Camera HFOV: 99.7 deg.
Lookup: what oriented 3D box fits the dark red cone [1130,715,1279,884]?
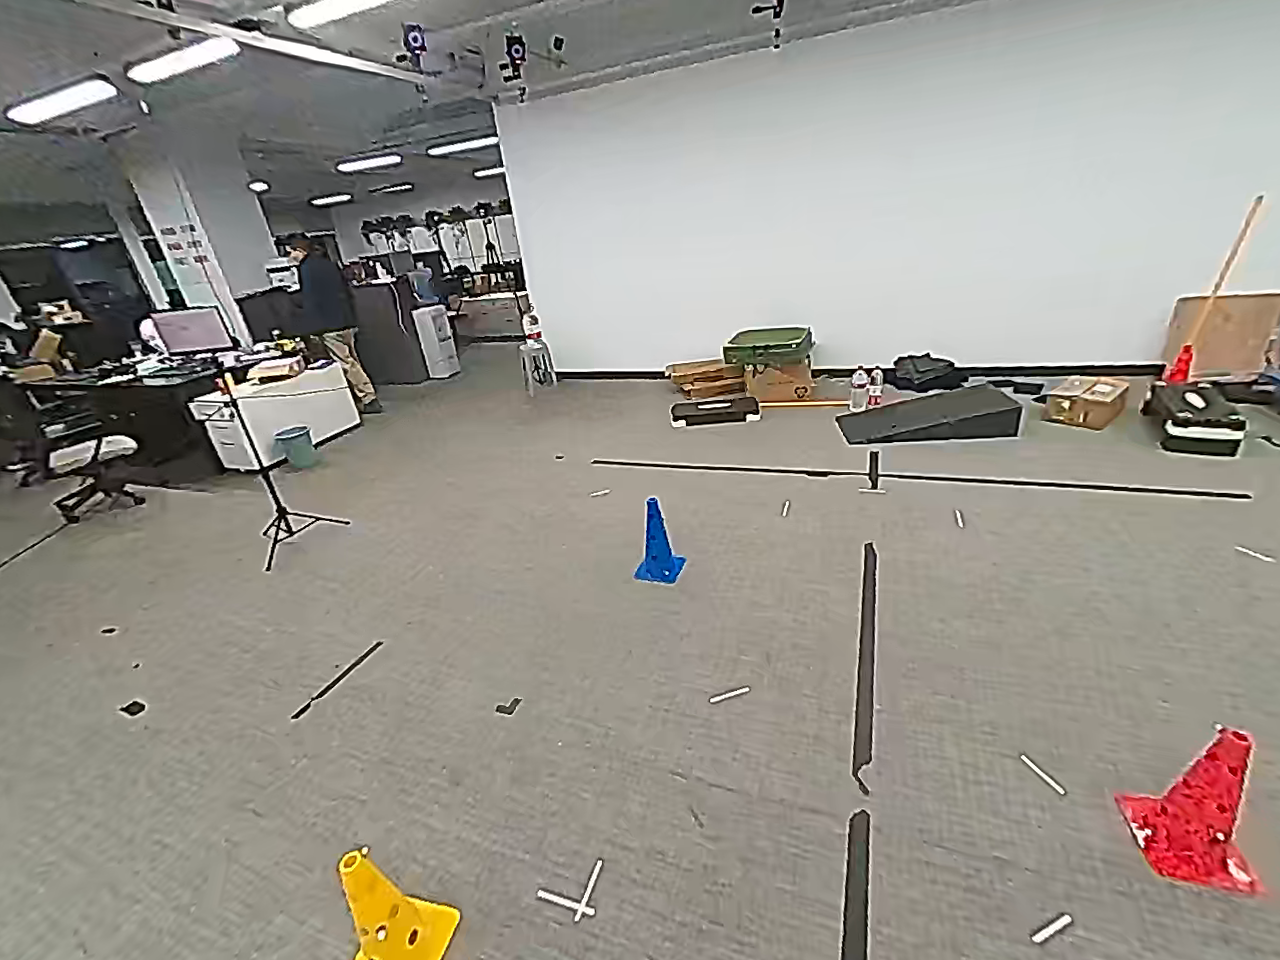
[{"bbox_3d":[1.258,0.656,1.164,0.201,0.394,0.202,-1,26,16],"label":"dark red cone"}]

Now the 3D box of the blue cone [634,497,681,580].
[{"bbox_3d":[0.063,0.247,2.391,0.192,0.380,0.193,3,28,23],"label":"blue cone"}]
